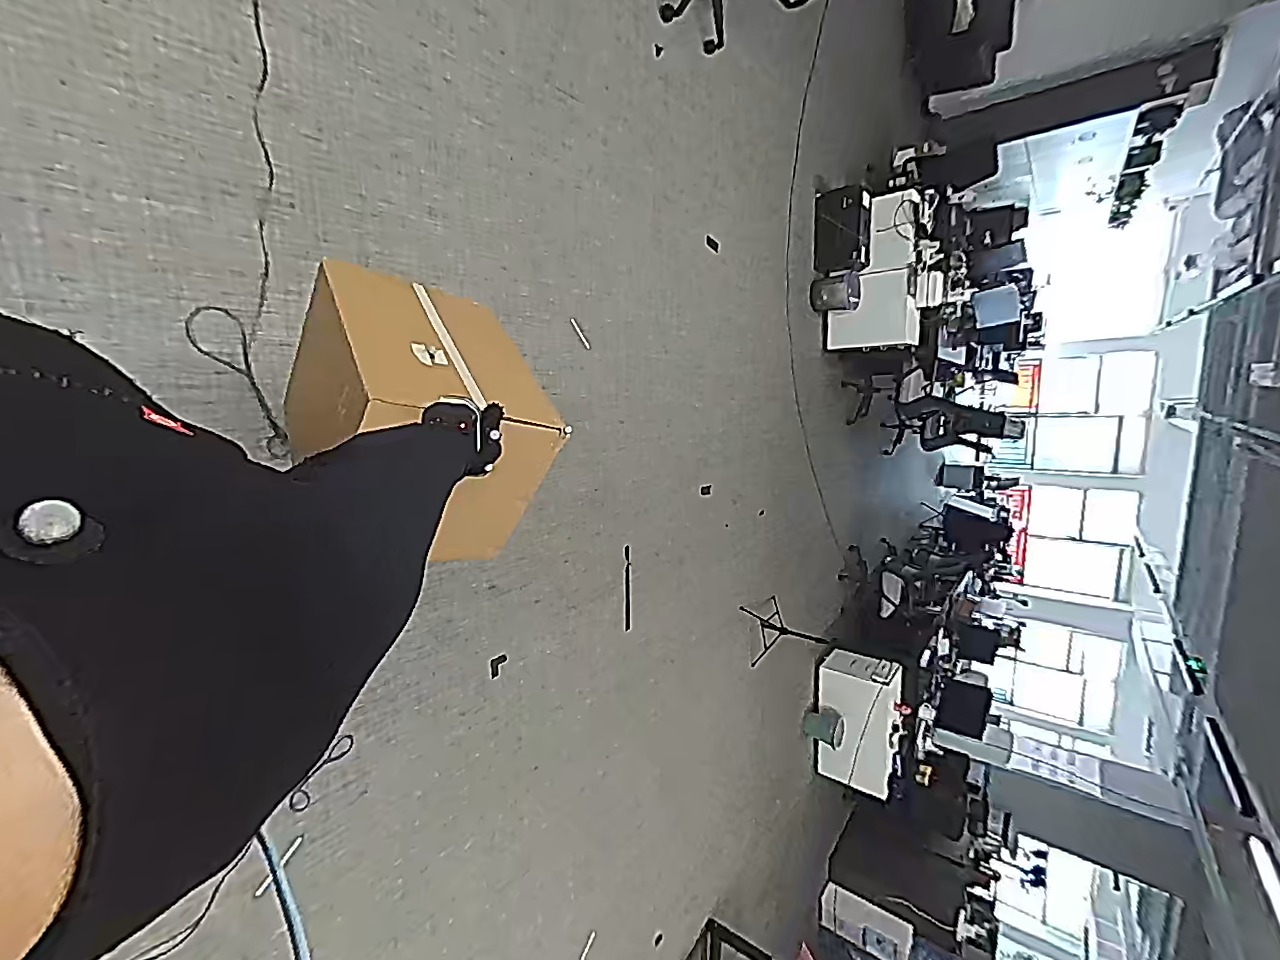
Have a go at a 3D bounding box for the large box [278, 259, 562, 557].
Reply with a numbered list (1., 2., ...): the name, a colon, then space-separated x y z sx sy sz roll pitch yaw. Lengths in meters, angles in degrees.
1. large box: -0.411 -0.114 0.966 0.320 0.408 0.320 6 129 -45
